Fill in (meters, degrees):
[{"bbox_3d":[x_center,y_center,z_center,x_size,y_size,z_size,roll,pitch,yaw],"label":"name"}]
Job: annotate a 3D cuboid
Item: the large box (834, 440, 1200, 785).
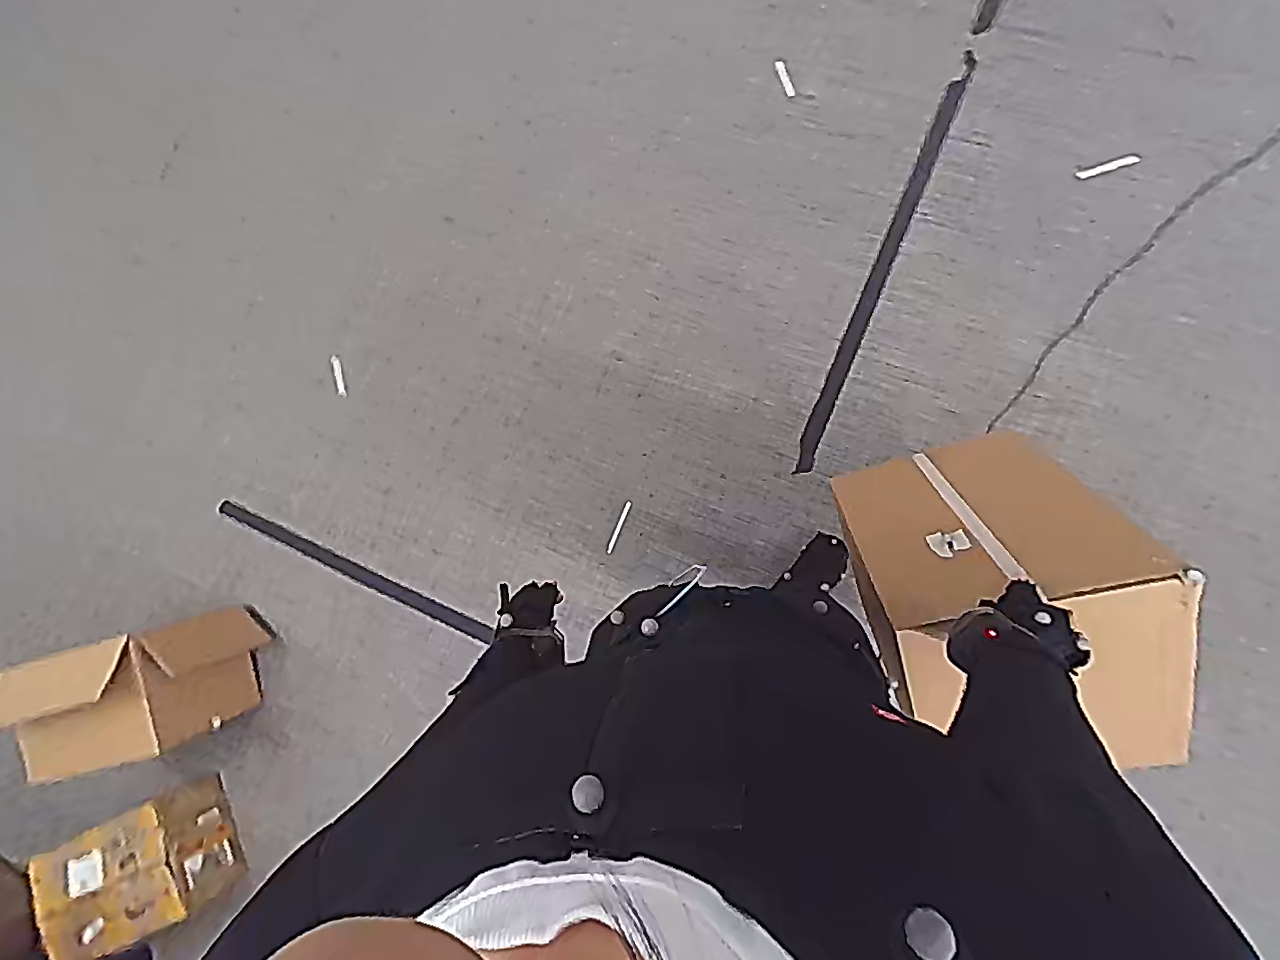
[{"bbox_3d":[0.532,0.187,0.853,0.320,0.408,0.320,-16,115,15],"label":"large box"}]
